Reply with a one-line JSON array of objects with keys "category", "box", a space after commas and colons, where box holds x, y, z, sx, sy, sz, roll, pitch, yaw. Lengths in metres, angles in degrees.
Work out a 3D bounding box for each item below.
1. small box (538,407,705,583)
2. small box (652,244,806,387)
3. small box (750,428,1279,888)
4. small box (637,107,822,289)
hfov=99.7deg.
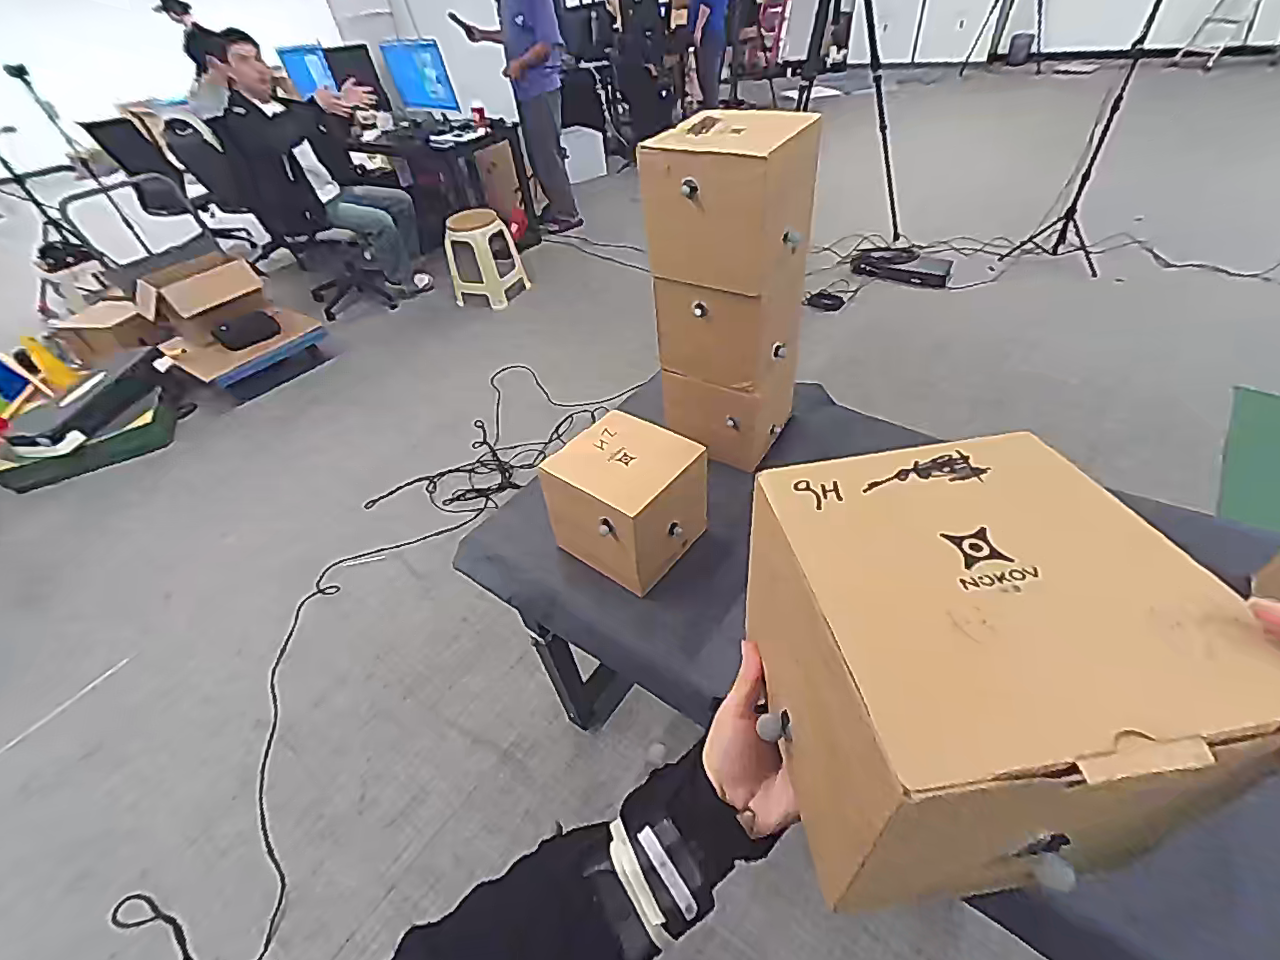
[{"category": "small box", "box": [-0.019, 0.025, 0.796, 0.179, 0.176, 0.168, 26, 51, 30]}, {"category": "small box", "box": [0.138, -0.269, 0.847, 0.179, 0.176, 0.168, 22, 54, 25]}, {"category": "small box", "box": [0.164, 0.098, 0.299, 0.168, 0.176, 0.179, -9, 41, -2]}, {"category": "small box", "box": [0.118, -0.377, 0.724, 0.179, 0.176, 0.168, 23, 54, 27]}]
